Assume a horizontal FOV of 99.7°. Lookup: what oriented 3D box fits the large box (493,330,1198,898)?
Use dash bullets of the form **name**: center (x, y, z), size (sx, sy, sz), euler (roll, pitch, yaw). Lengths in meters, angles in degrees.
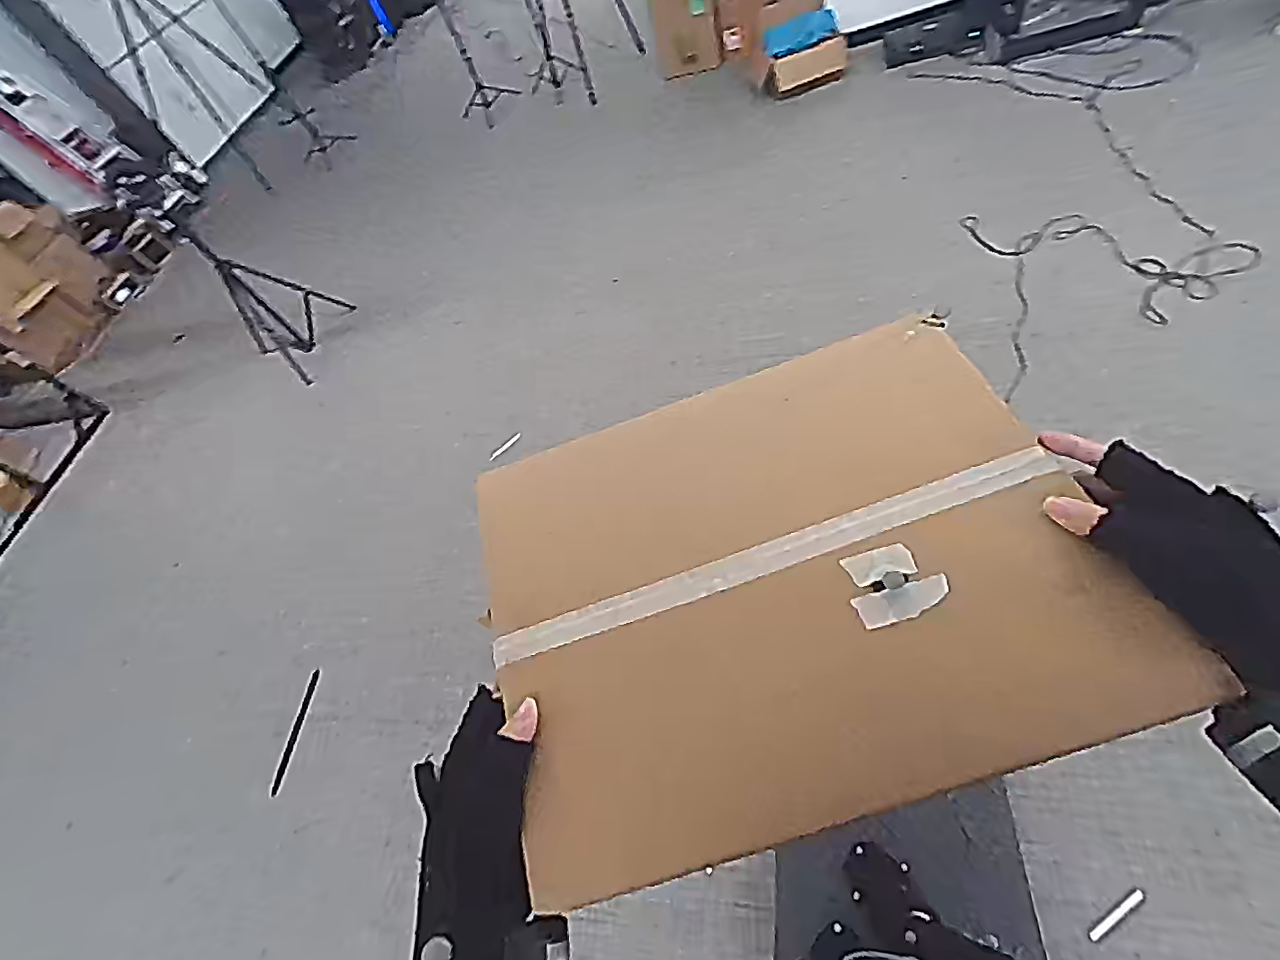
- **large box**: center (0.125, 0.133, 0.518), size (0.408, 0.320, 0.320), euler (-20, 59, 3)
